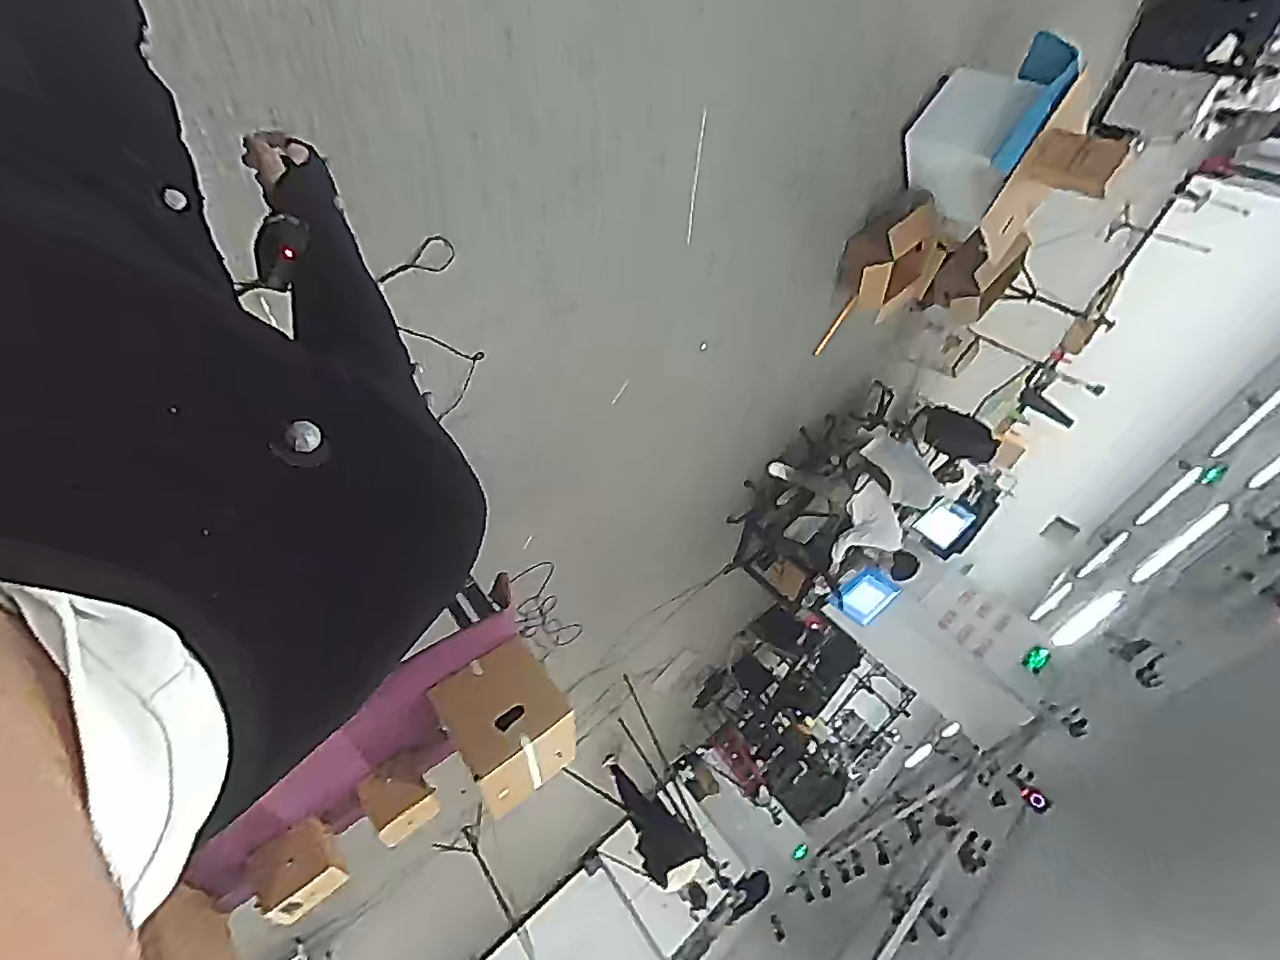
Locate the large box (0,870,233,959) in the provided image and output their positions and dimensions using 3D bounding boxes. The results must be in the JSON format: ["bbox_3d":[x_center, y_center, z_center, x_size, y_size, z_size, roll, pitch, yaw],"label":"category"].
[{"bbox_3d":[-1.184,1.172,1.223,0.320,0.320,0.408,-29,145,-32],"label":"large box"}]

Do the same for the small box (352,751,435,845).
[{"bbox_3d":[-0.761,0.979,1.675,0.168,0.176,0.179,-28,144,-31],"label":"small box"}]
